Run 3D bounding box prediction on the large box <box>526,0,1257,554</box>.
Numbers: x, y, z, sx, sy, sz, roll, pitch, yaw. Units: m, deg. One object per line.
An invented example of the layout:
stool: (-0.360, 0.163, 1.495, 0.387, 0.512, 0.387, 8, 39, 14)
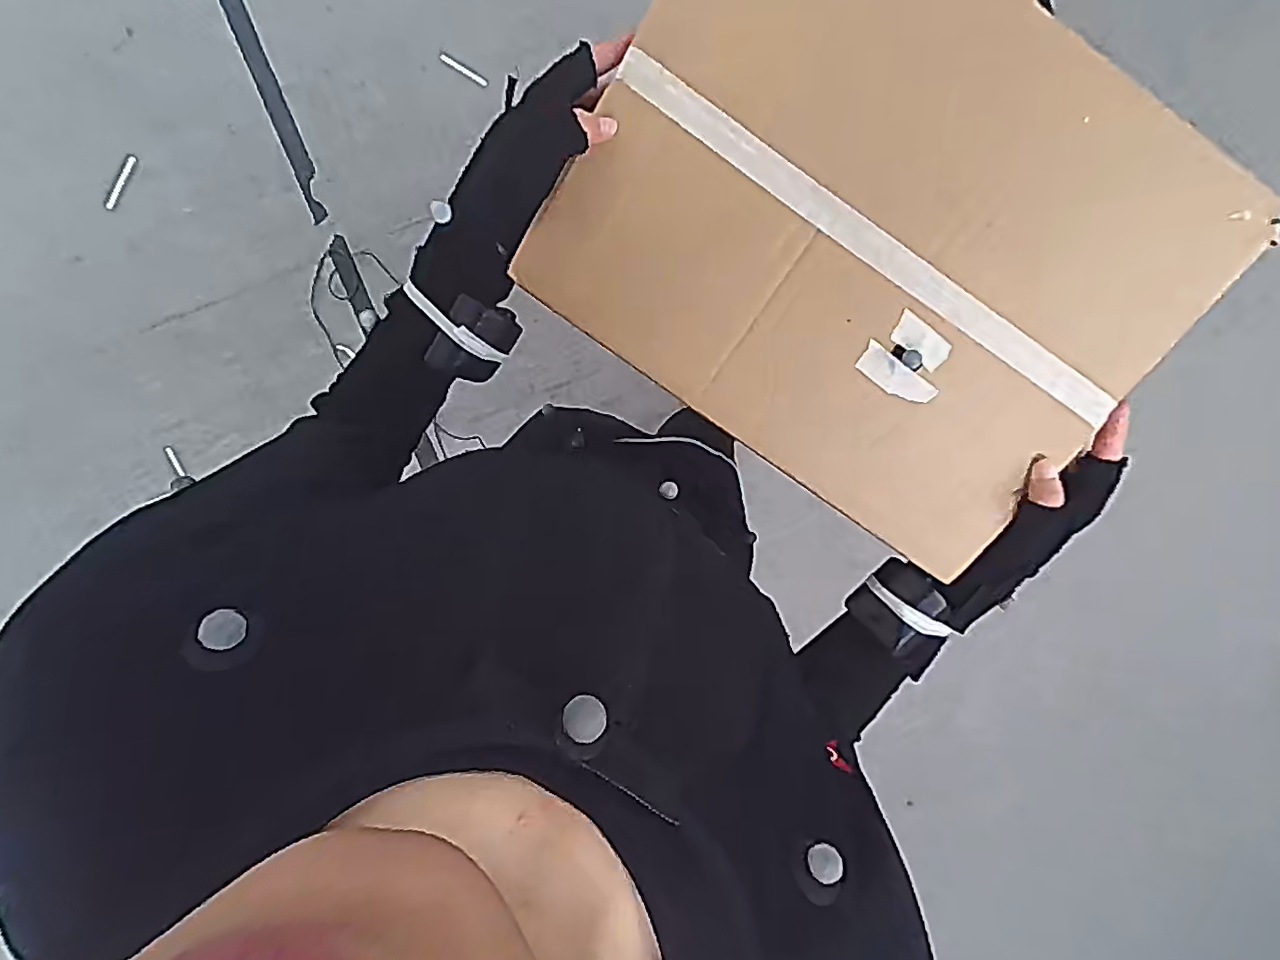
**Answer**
large box: (0.170, -0.203, 0.521, 0.408, 0.320, 0.320, 34, 105, -4)
